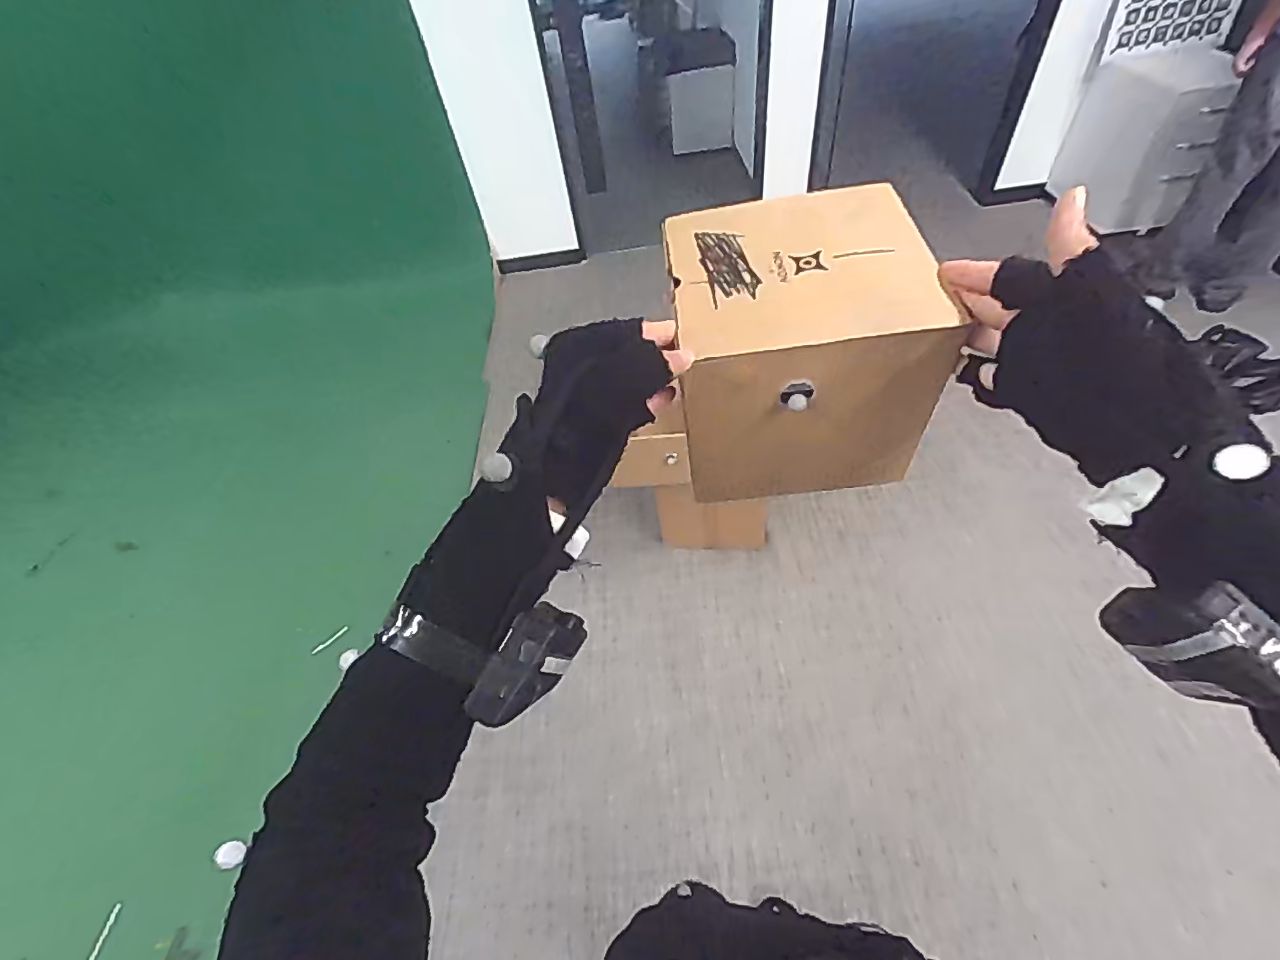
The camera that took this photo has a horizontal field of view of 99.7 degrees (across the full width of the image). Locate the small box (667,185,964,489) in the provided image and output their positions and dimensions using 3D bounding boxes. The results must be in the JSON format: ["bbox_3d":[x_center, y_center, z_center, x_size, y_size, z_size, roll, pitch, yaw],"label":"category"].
[{"bbox_3d":[0.122,-0.105,0.444,0.179,0.176,0.168,-6,55,6],"label":"small box"}]

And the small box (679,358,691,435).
[{"bbox_3d":[0.191,-0.227,1.423,0.168,0.176,0.179,-4,48,3],"label":"small box"}]
